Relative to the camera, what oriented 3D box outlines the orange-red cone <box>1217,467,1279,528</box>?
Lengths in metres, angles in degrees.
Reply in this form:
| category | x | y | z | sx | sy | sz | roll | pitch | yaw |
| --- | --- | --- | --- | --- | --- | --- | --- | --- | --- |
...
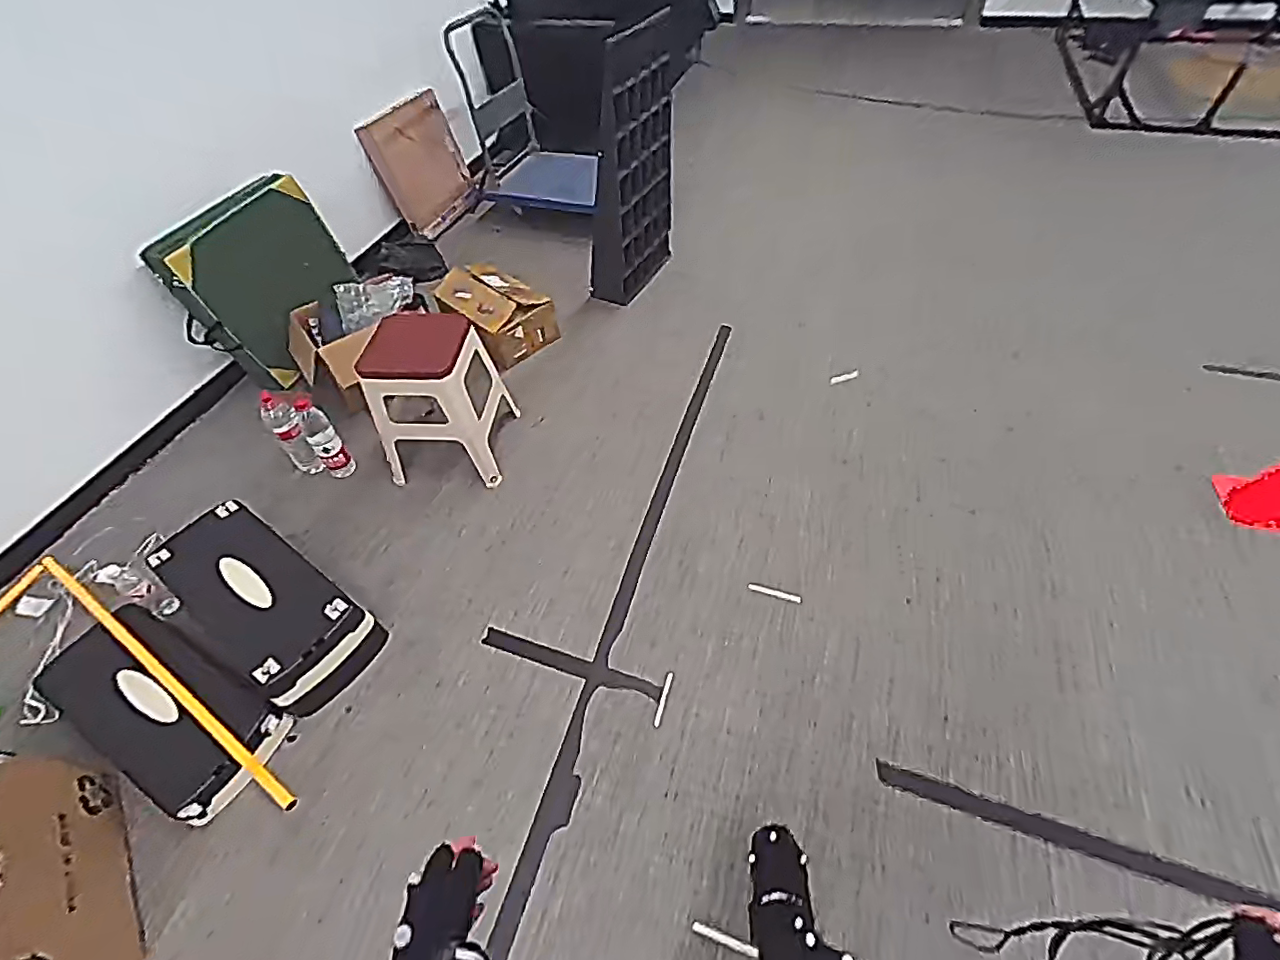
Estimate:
| category | x | y | z | sx | sy | sz | roll | pitch | yaw |
| --- | --- | --- | --- | --- | --- | --- | --- | --- | --- |
| orange-red cone | 1.903 | -0.041 | 1.527 | 0.199 | 0.360 | 0.198 | 9 | 52 | 13 |
